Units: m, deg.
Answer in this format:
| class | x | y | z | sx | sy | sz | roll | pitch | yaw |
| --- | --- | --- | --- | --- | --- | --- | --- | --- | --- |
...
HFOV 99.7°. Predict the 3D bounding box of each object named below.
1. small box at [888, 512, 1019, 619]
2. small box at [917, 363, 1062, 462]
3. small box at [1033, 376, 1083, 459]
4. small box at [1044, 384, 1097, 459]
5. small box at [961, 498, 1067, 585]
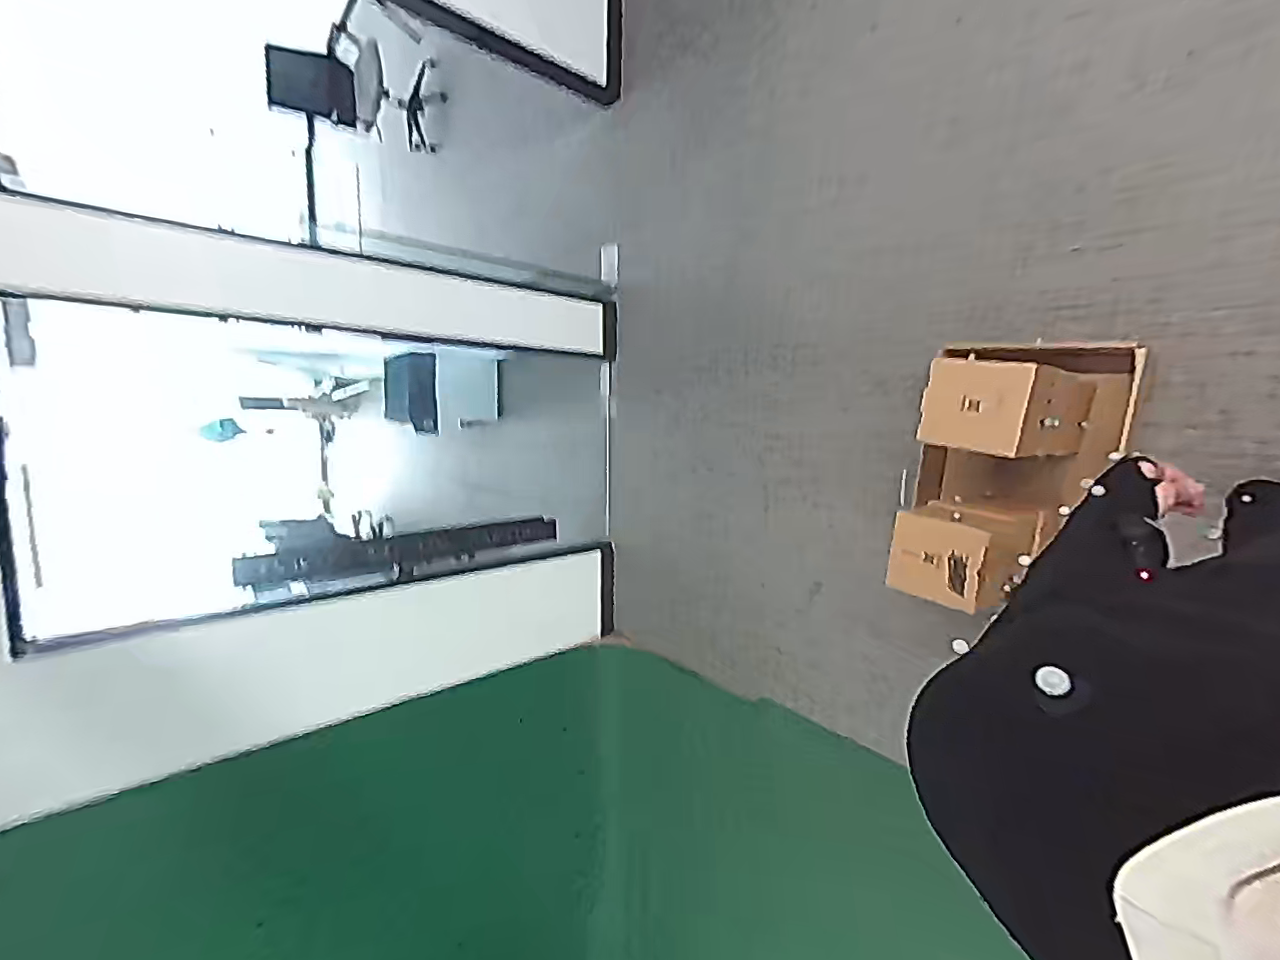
| class | x | y | z | sx | sy | sz | roll | pitch | yaw |
| --- | --- | --- | --- | --- | --- | --- | --- | --- | --- |
| small box | 0.649 | 0.165 | 1.118 | 0.179 | 0.176 | 0.168 | 16 | 105 | 51 |
| small box | 0.682 | -0.133 | 1.058 | 0.179 | 0.176 | 0.168 | 19 | 108 | 47 |
| small box | 0.807 | -0.142 | 1.162 | 0.179 | 0.176 | 0.168 | 19 | 108 | 49 |
| small box | 0.931 | -0.142 | 1.269 | 0.179 | 0.176 | 0.168 | 16 | 105 | 48 |
| small box | 0.904 | 0.142 | 1.324 | 0.179 | 0.176 | 0.168 | 16 | 105 | 50 |
